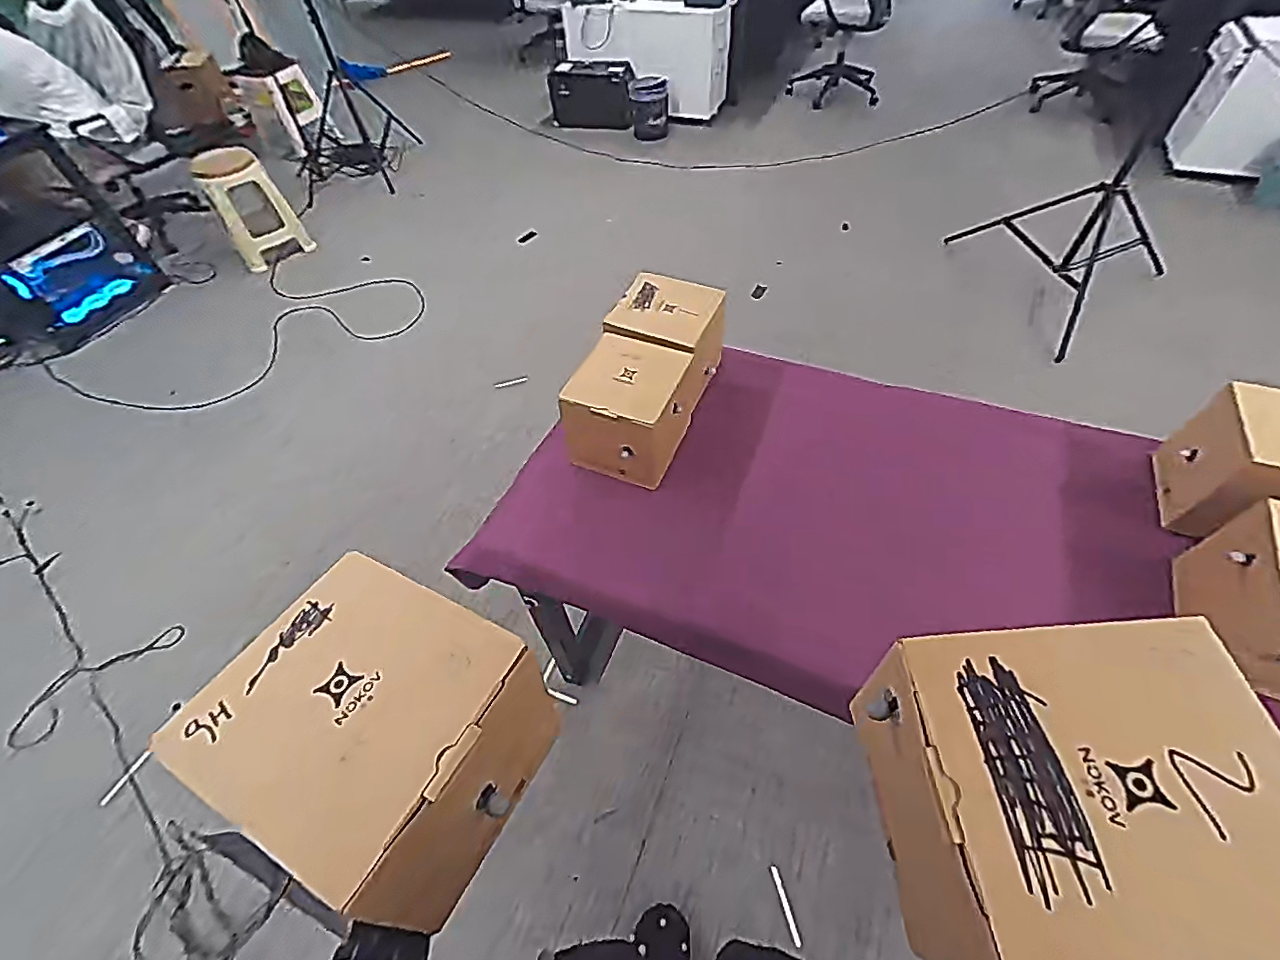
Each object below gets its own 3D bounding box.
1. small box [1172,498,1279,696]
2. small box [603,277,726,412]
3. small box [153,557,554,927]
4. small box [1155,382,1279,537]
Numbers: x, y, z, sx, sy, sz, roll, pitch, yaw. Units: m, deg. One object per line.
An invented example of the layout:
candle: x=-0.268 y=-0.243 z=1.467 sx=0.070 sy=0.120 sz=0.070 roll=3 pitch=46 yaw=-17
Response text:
small box: x=0.816 y=0.159 z=0.671 sx=0.168 sy=0.176 sz=0.179 roll=21 pitch=56 yaw=20
small box: x=0.049 y=-0.256 z=1.033 sx=0.179 sy=0.176 sz=0.168 roll=20 pitch=58 yaw=16
small box: x=-0.183 y=0.195 z=0.408 sx=0.179 sy=0.176 sz=0.168 roll=21 pitch=51 yaw=19
small box: x=0.904 y=-0.011 z=0.787 sx=0.179 sy=0.176 sz=0.168 roll=18 pitch=57 yaw=16
